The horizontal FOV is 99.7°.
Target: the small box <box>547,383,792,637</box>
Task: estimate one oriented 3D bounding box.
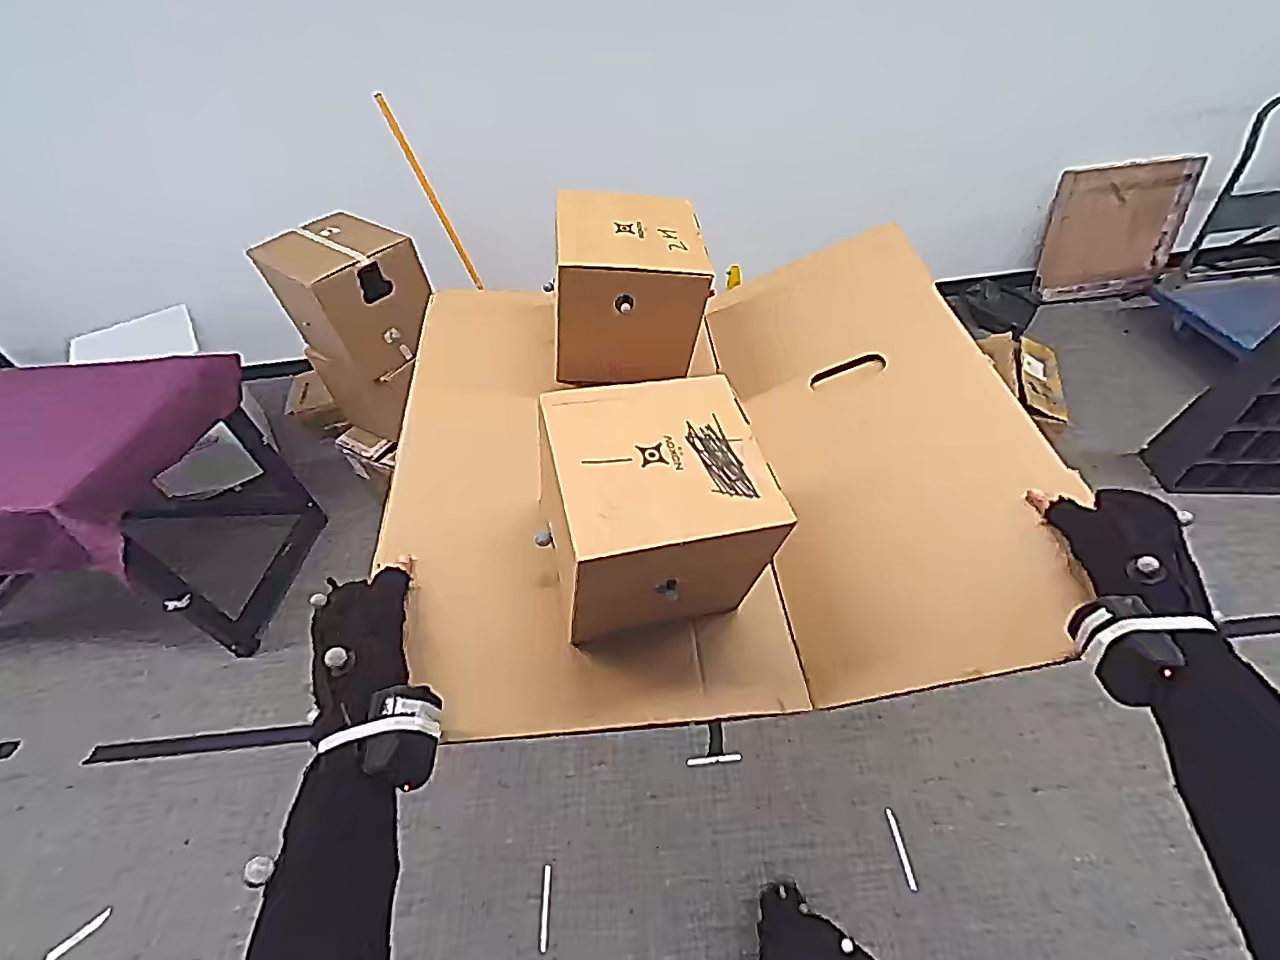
[{"bbox_3d":[0.009,0.031,0.515,0.179,0.176,0.168,-9,56,-14],"label":"small box"}]

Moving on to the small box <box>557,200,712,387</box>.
[{"bbox_3d":[-0.019,-0.238,0.709,0.179,0.176,0.168,1,54,-10],"label":"small box"}]
